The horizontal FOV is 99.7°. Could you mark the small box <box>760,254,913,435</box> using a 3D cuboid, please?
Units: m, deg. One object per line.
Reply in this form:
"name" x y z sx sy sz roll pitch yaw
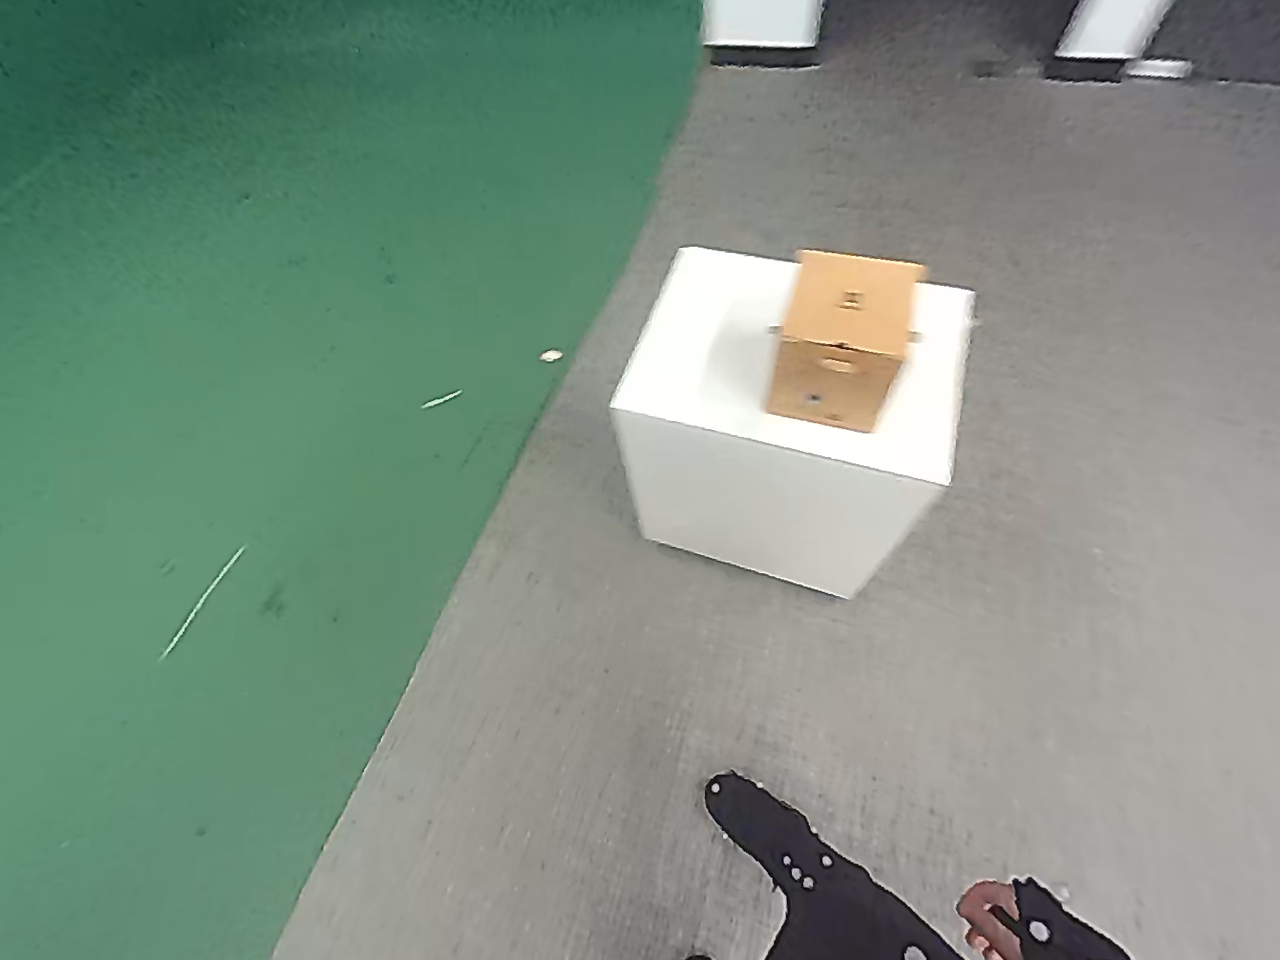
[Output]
"small box" 0.278 -0.194 0.789 0.168 0.176 0.179 13 64 13
